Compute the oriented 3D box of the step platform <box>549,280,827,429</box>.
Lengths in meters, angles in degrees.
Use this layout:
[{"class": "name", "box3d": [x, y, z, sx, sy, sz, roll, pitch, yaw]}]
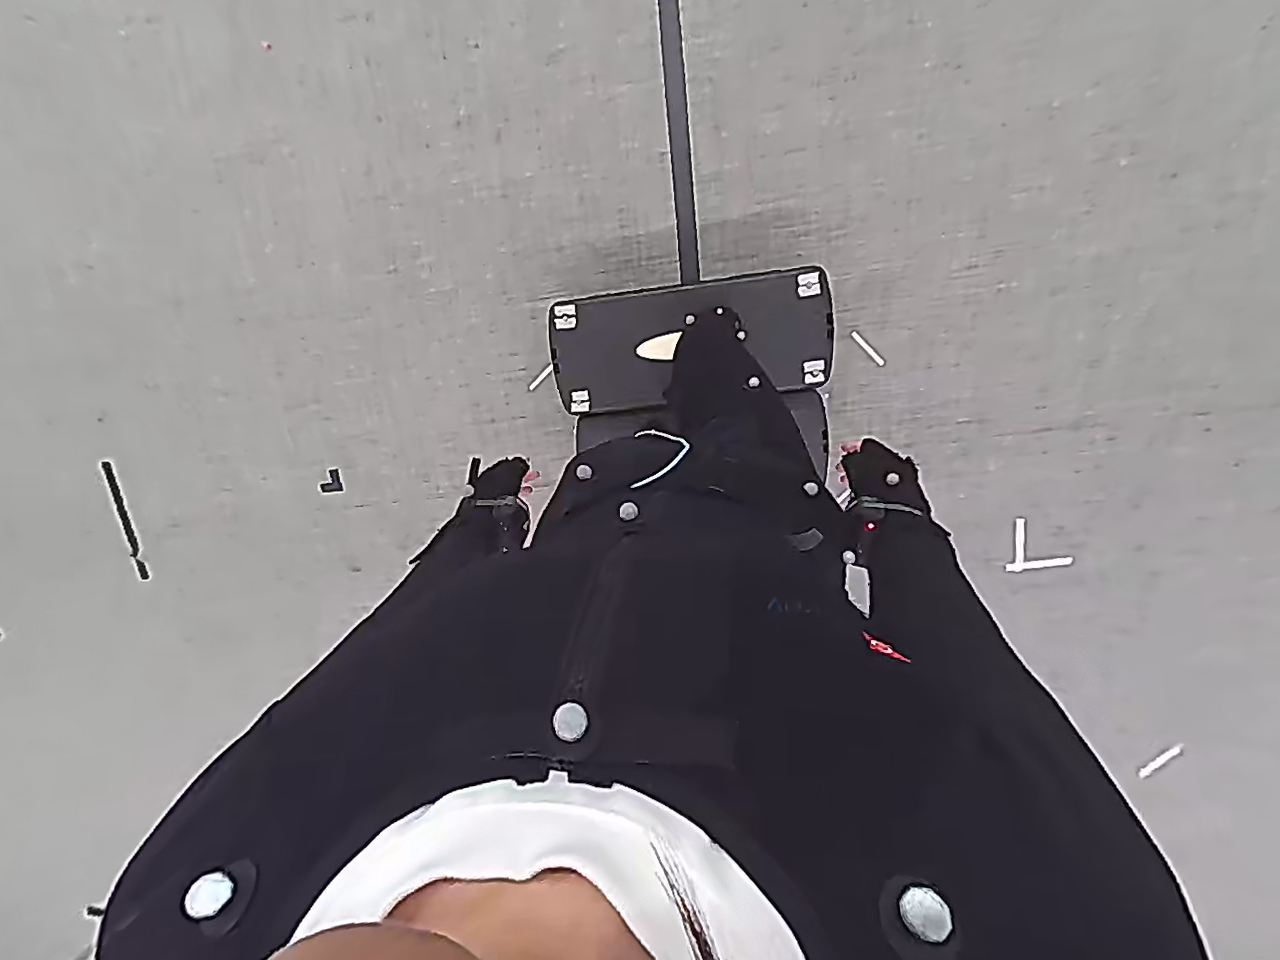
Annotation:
[{"class": "step platform", "box3d": [0.115, -0.313, 1.372, 0.684, 0.204, 0.286, -7, 105, 6]}]
